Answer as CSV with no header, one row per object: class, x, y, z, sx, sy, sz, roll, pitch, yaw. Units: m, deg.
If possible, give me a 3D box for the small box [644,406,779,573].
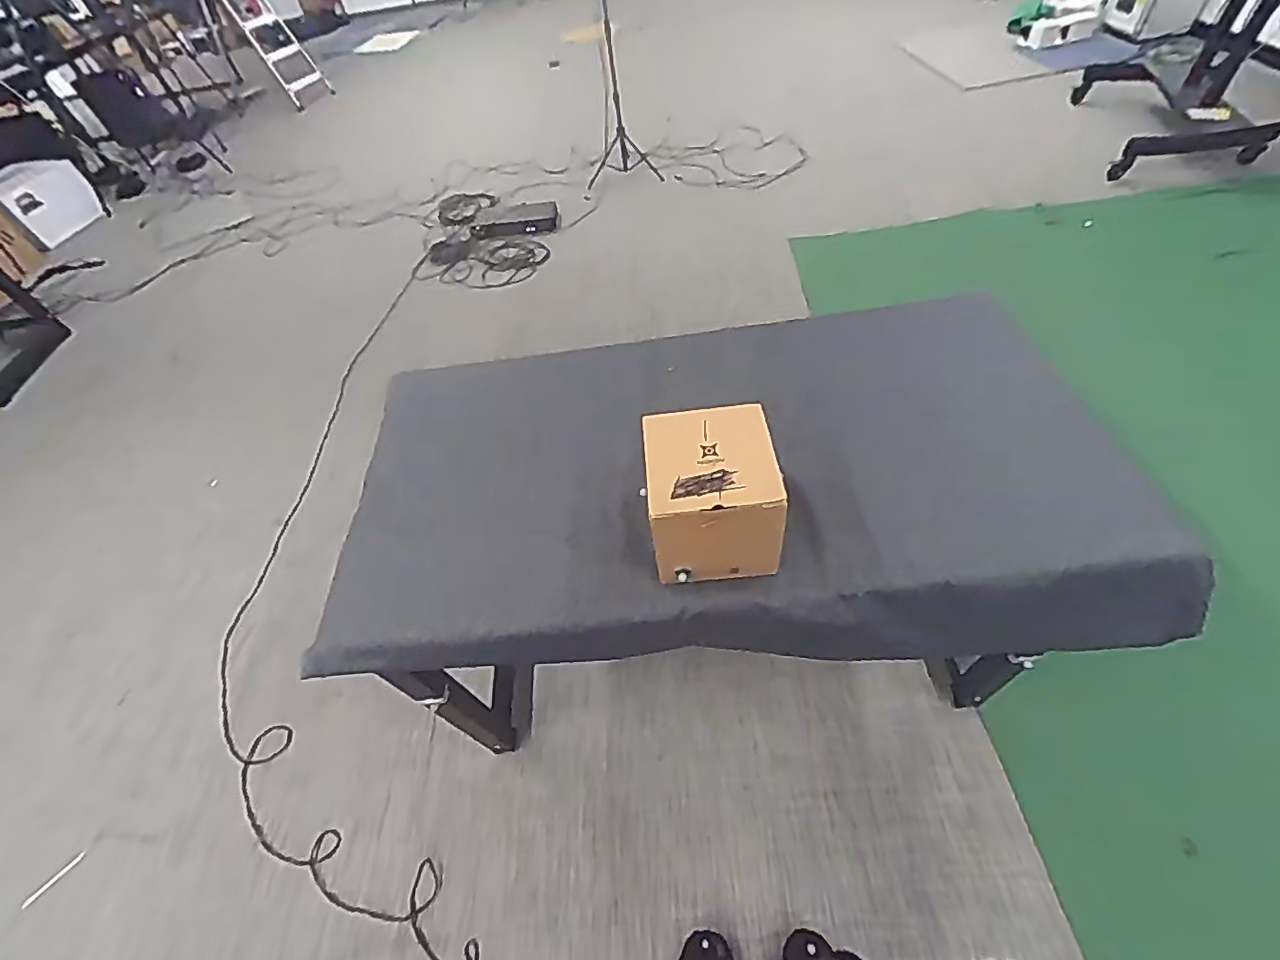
small box,0.098,0.021,0.773,0.168,0.176,0.179,-6,49,4
